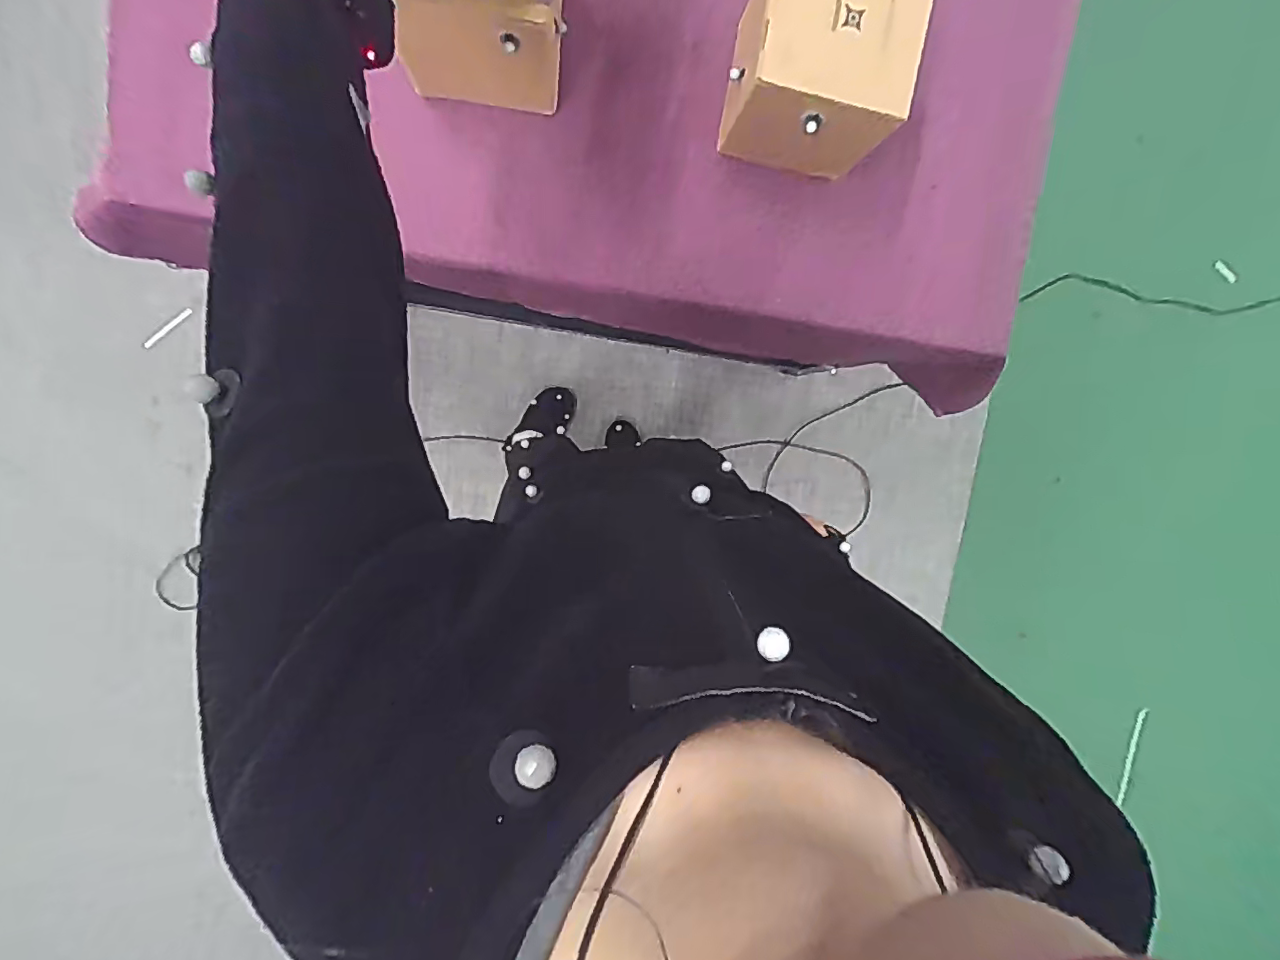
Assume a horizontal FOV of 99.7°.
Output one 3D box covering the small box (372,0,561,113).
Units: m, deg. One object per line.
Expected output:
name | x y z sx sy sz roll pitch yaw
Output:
small box | -0.181 -0.545 0.600 0.179 0.176 0.168 3 96 -8

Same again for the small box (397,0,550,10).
small box | -0.161 -0.536 0.436 0.168 0.176 0.179 -5 98 -6

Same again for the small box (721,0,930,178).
small box | 0.209 -0.494 0.649 0.179 0.176 0.168 9 97 -8
